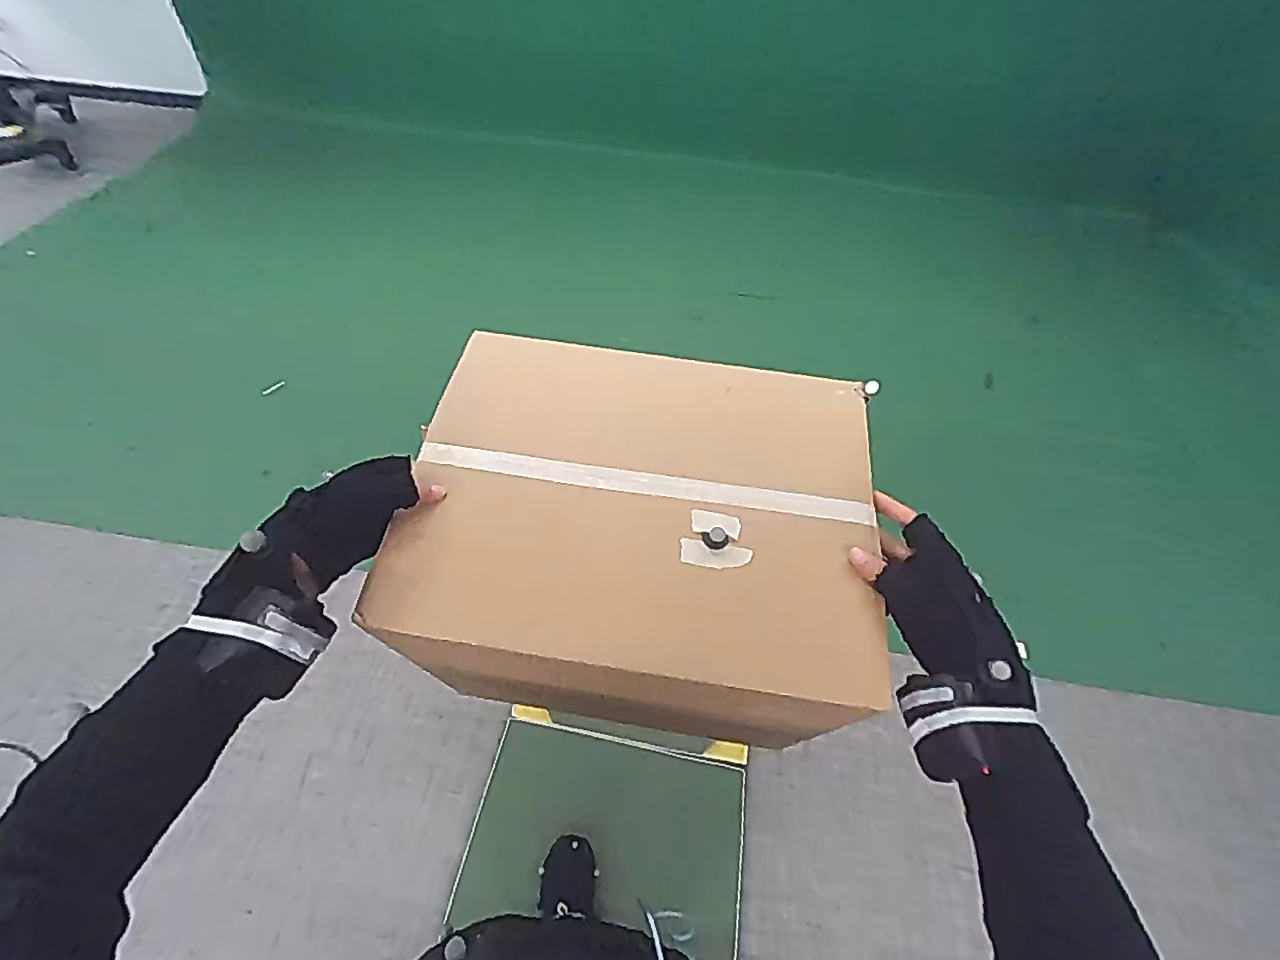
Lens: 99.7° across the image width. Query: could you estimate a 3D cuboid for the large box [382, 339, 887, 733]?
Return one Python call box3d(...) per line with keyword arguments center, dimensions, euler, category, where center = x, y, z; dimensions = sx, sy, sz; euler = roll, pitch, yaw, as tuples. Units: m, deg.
box3d(center=(0.003, 0.080, 0.618), dimensions=(0.408, 0.320, 0.320), euler=(8, 60, 2), category="large box")
